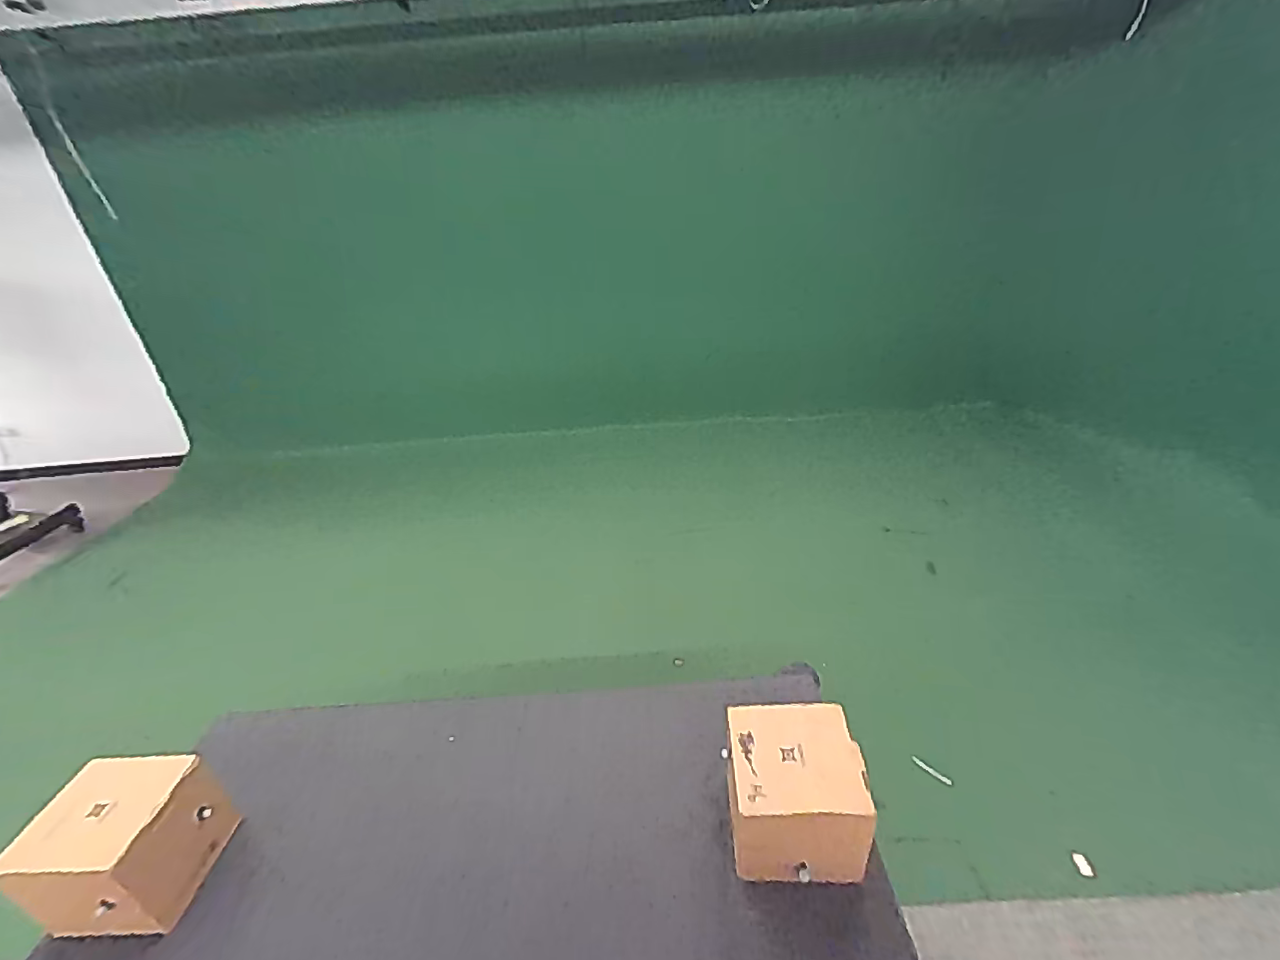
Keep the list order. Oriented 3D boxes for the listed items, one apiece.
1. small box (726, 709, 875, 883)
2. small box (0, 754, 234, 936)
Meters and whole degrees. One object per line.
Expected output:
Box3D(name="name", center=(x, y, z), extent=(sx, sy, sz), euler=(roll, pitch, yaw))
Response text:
Box3D(name="small box", center=(0.223, 0.466, 0.802), extent=(0.179, 0.176, 0.168), euler=(-2, 29, 4))
Box3D(name="small box", center=(-0.755, 0.531, 0.794), extent=(0.179, 0.176, 0.168), euler=(-3, 26, 3))
